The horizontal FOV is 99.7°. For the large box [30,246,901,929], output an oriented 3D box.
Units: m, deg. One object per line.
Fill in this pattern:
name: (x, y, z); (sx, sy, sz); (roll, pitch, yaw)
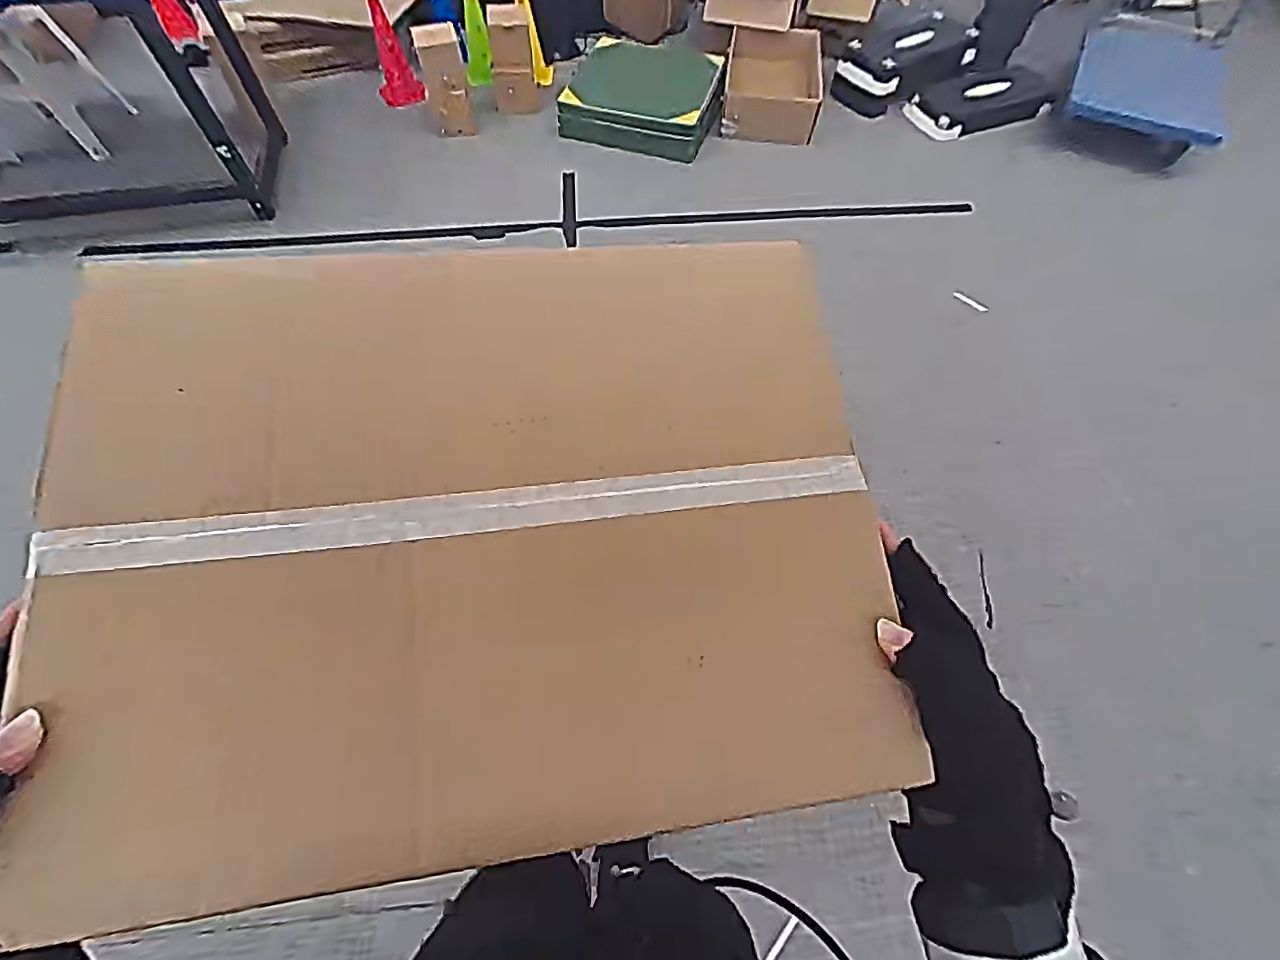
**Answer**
large box: (-0.093, 0.056, 0.429); (0.408, 0.320, 0.320); (-6, 74, -8)
